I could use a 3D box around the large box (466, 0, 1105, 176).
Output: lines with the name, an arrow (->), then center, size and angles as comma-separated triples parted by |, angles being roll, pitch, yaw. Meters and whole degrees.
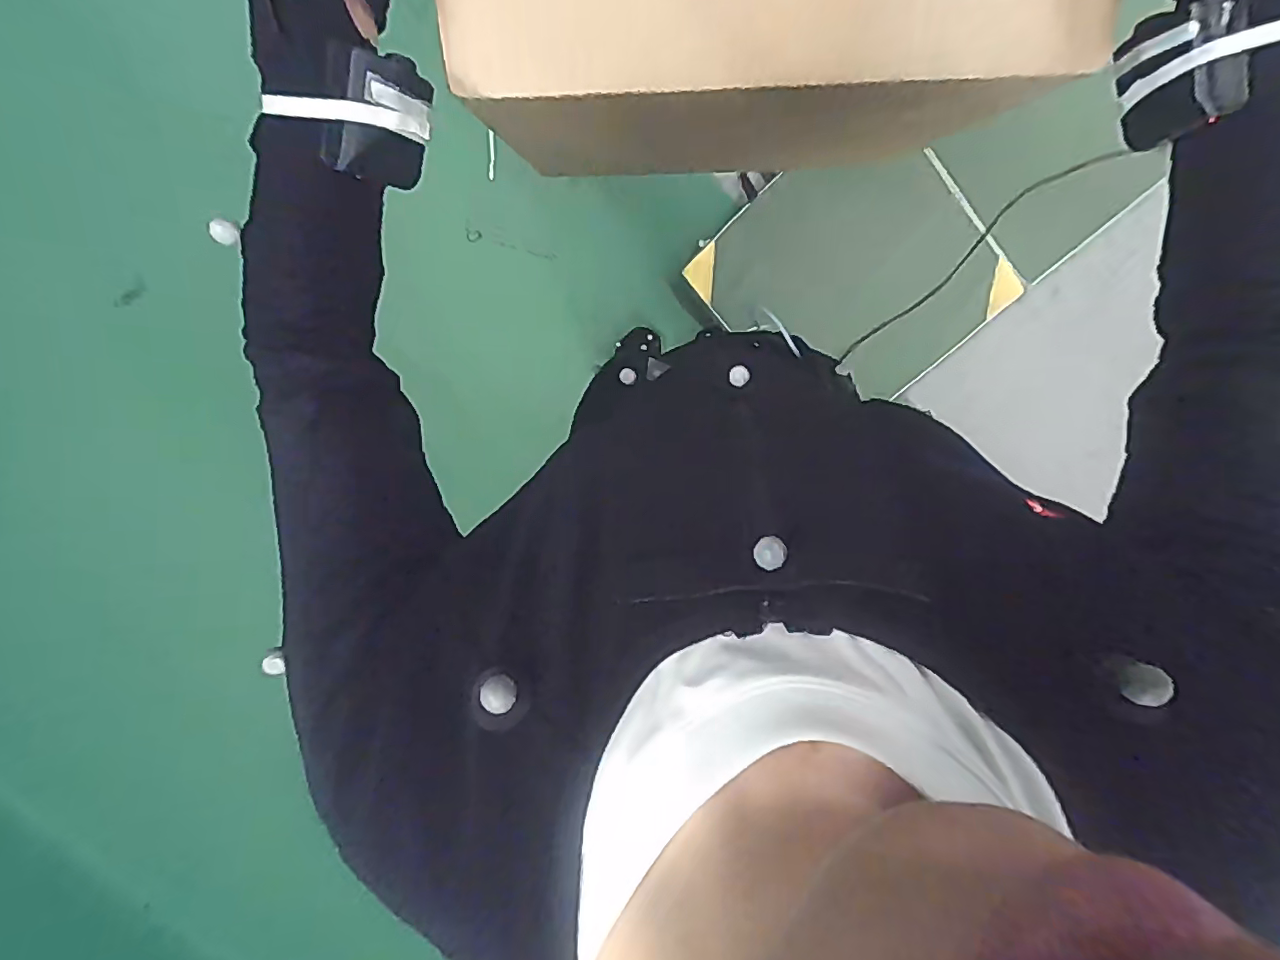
large box -> 0.083, -0.452, 0.434 | 0.408, 0.320, 0.320 | -2, 112, 0
